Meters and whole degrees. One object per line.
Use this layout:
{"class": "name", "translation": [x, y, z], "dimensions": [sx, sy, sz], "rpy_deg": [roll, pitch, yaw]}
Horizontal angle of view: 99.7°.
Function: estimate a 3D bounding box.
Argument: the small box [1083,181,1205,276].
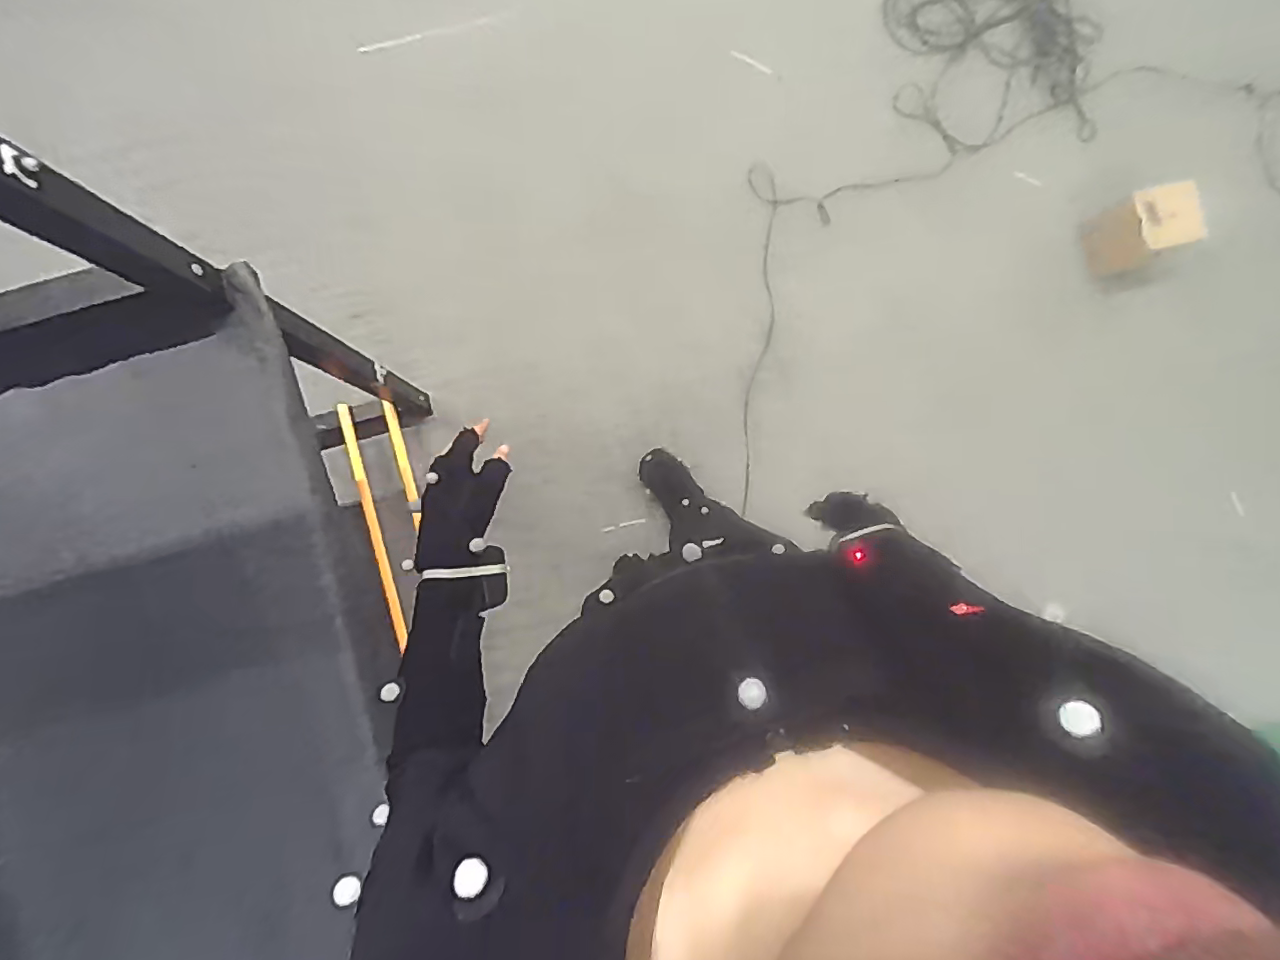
{"class": "small box", "translation": [1.378, -0.688, 1.497], "dimensions": [0.179, 0.176, 0.168], "rpy_deg": [-12, 86, -3]}
